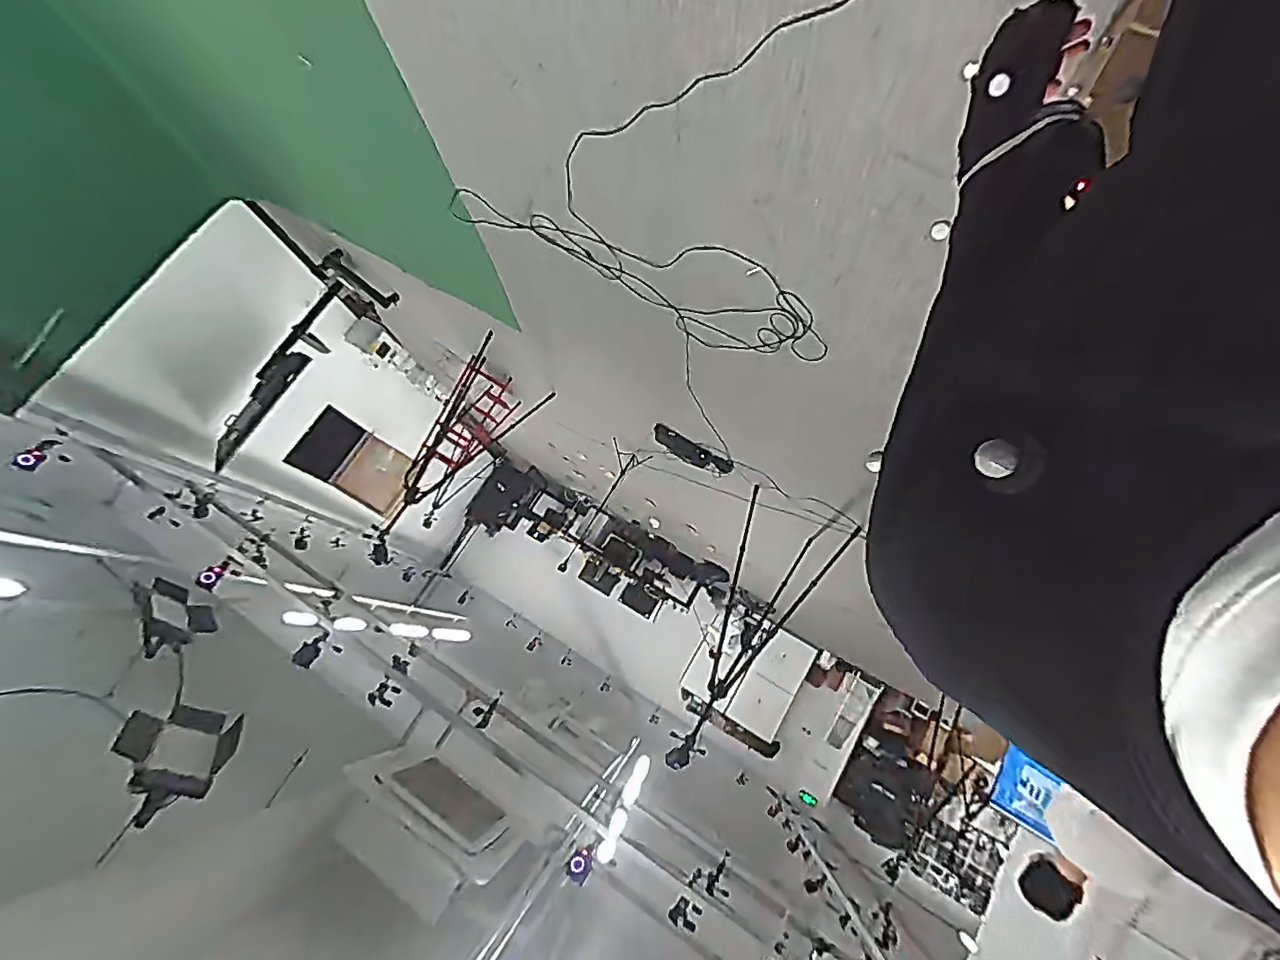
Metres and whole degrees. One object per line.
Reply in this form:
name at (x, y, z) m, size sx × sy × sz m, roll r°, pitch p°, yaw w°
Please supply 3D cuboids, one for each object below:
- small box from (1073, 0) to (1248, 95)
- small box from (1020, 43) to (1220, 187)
small box at (0.902, -0.730, 0.957) m, size 0.168 × 0.176 × 0.179 m, roll 30°, pitch 167°, yaw 11°
small box at (0.816, -0.593, 0.926) m, size 0.179 × 0.176 × 0.168 m, roll 31°, pitch 167°, yaw 10°
